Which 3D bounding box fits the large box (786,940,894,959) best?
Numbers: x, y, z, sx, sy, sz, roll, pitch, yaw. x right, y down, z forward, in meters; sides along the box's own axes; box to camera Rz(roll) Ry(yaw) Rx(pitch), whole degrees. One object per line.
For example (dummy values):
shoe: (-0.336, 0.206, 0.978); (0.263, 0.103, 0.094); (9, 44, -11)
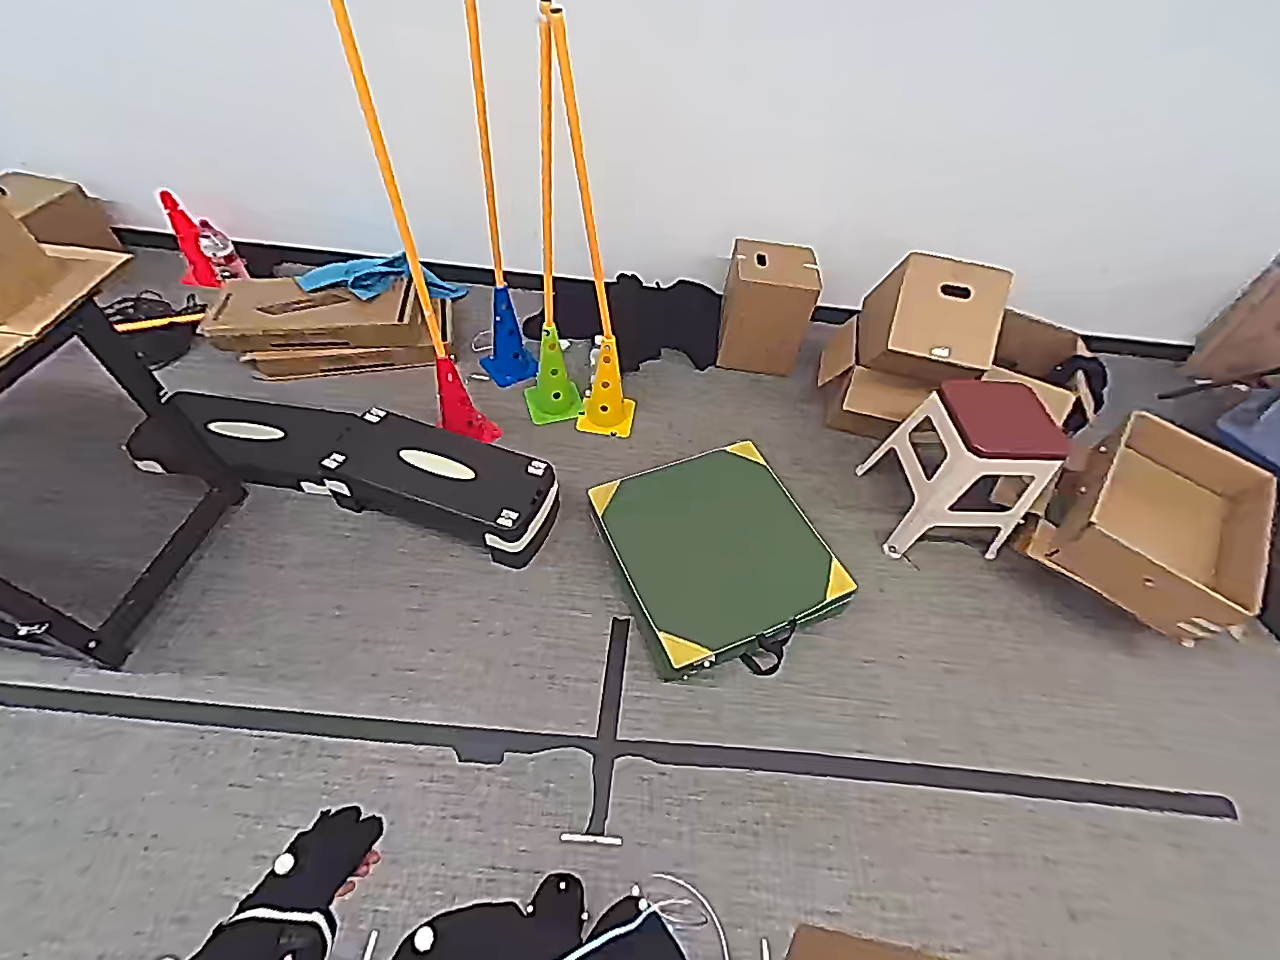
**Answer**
large box: (0.329, 0.796, 0.597); (0.320, 0.408, 0.320); (33, 55, 12)
